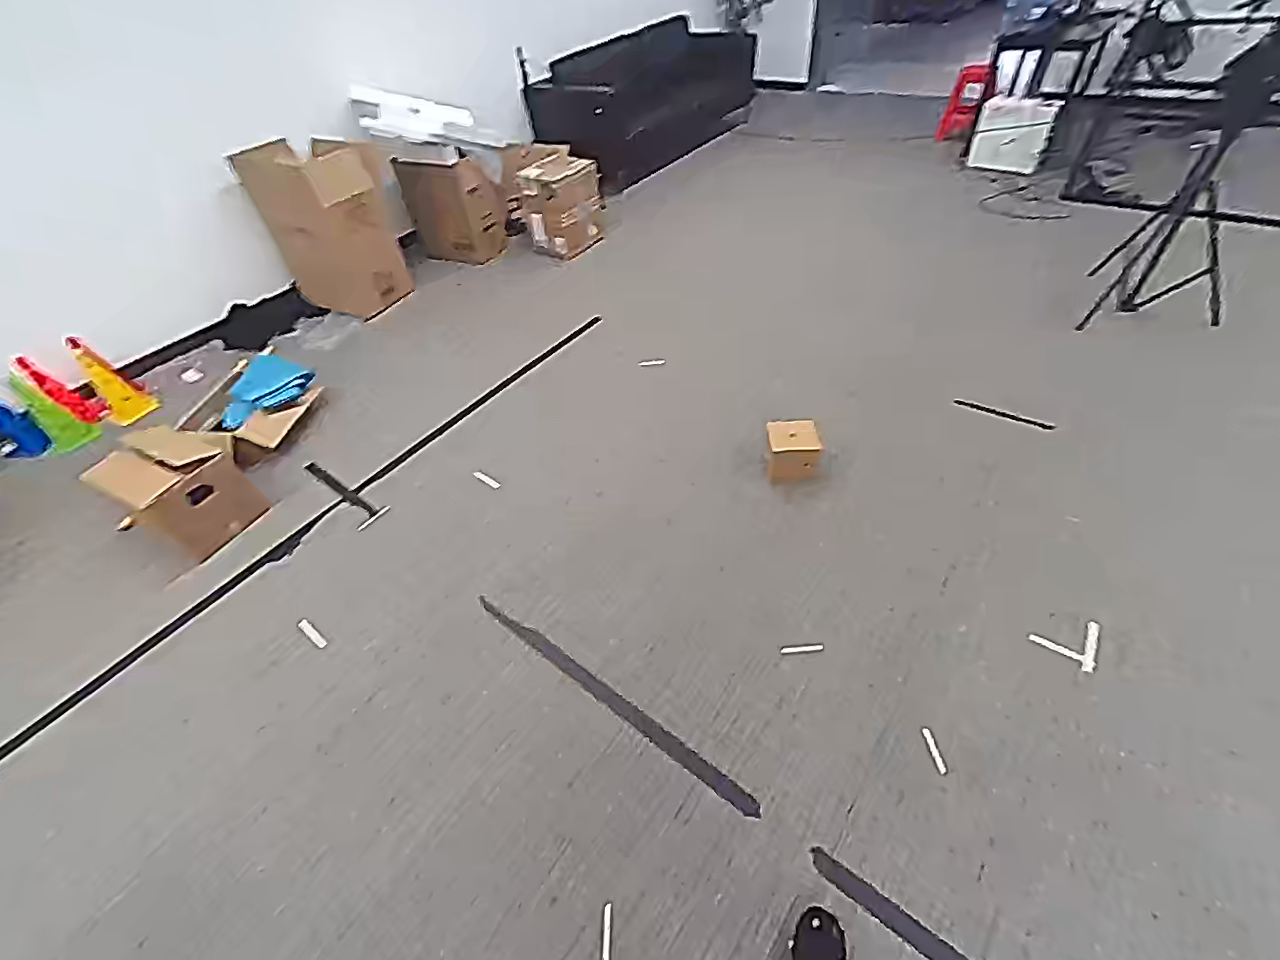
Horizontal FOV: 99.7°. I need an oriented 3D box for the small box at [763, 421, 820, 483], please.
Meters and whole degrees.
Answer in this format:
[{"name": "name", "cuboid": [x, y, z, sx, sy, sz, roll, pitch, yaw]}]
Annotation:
[{"name": "small box", "cuboid": [0.569, -0.102, 2.051, 0.179, 0.176, 0.168, -4, 45, 5]}]
